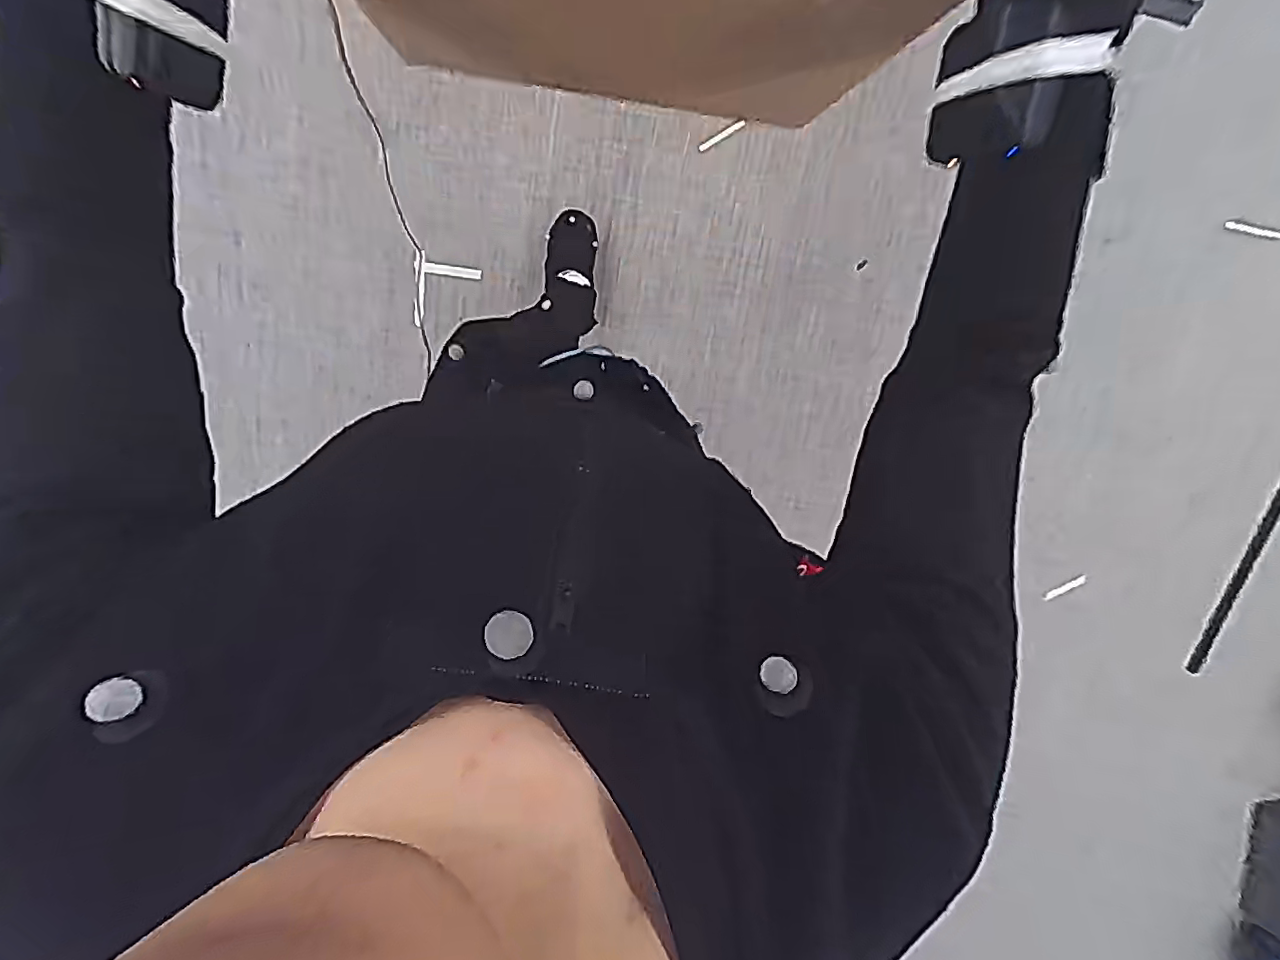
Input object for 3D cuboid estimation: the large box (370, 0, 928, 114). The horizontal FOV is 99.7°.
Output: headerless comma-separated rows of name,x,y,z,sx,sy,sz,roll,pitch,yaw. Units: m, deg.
large box,0.000,-0.489,0.358,0.408,0.320,0.320,4,109,-7
